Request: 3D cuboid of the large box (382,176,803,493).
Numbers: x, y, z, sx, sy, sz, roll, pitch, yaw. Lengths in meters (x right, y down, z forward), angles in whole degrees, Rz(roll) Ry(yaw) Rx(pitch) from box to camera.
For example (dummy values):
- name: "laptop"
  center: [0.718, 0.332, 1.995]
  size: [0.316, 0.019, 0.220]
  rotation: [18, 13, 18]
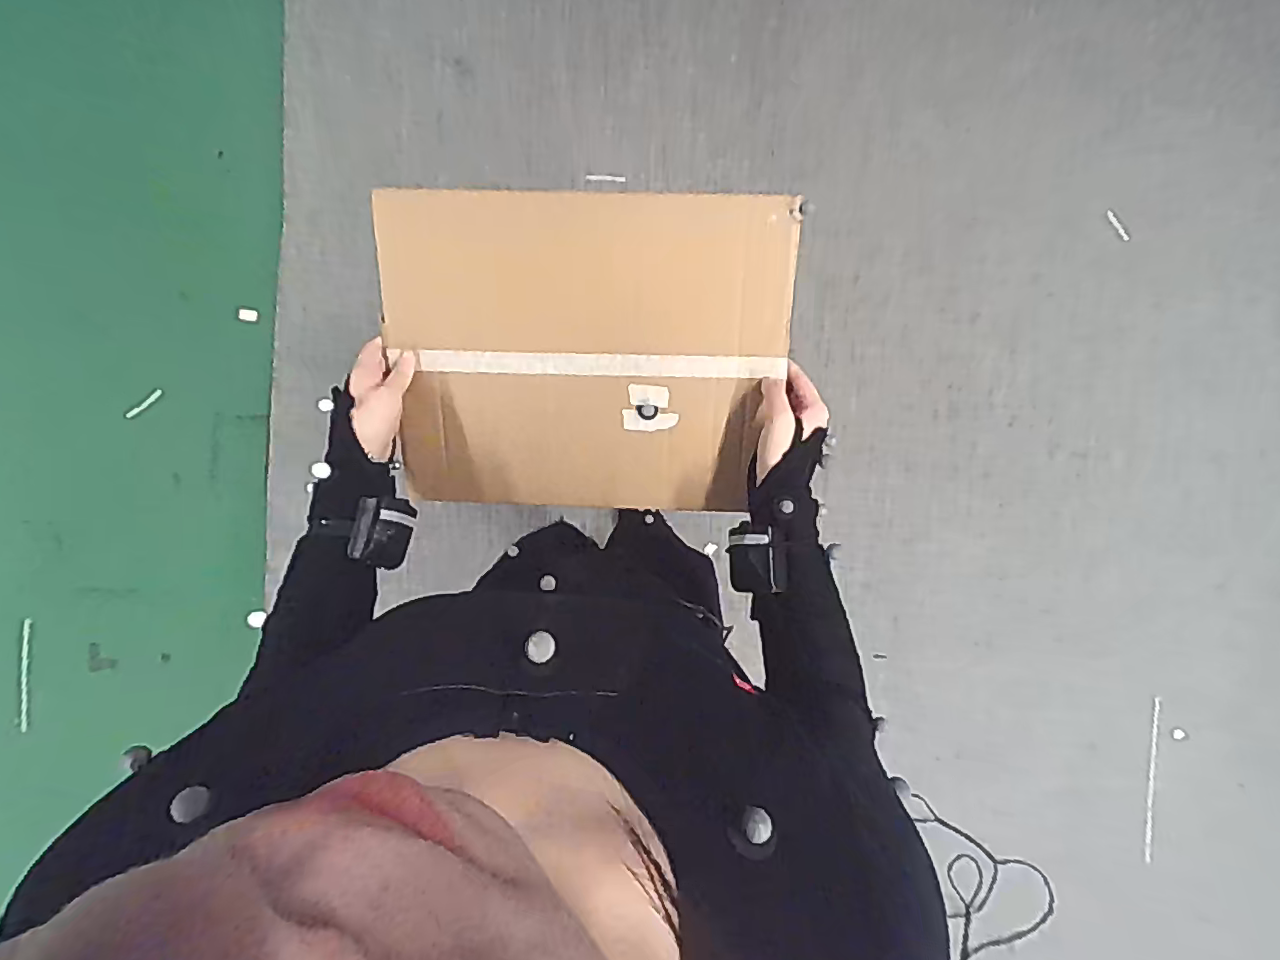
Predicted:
- name: "large box"
  center: [-0.046, -0.177, 0.690]
  size: [0.408, 0.320, 0.320]
  rotation: [1, 108, 1]
